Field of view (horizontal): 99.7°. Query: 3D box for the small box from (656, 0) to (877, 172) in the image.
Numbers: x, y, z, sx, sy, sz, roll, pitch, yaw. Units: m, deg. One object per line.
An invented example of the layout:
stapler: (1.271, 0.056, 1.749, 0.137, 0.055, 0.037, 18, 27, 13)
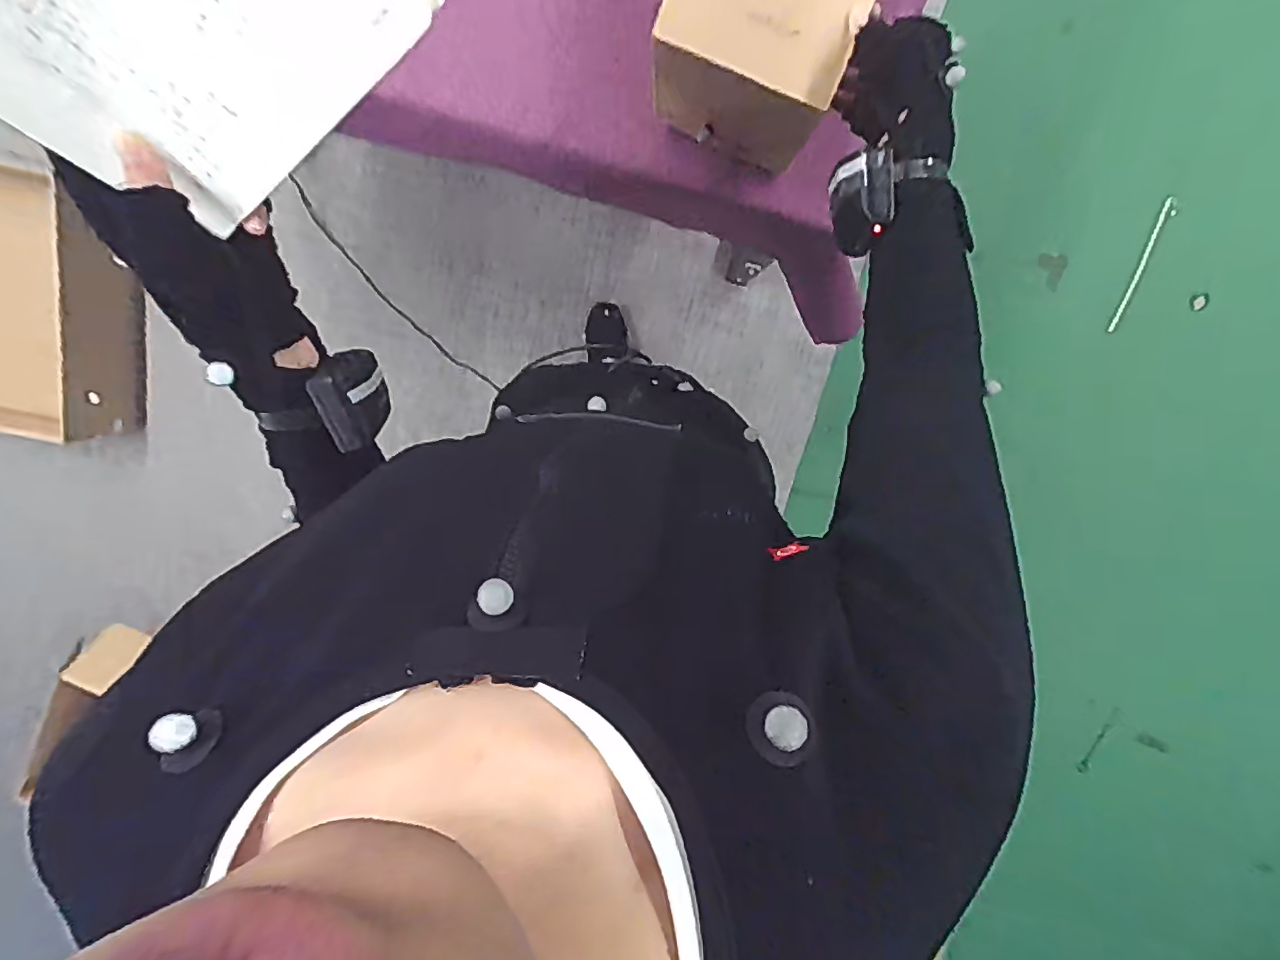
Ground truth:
small box: (0.120, -0.440, 0.520, 0.168, 0.176, 0.179, 23, 102, -3)
